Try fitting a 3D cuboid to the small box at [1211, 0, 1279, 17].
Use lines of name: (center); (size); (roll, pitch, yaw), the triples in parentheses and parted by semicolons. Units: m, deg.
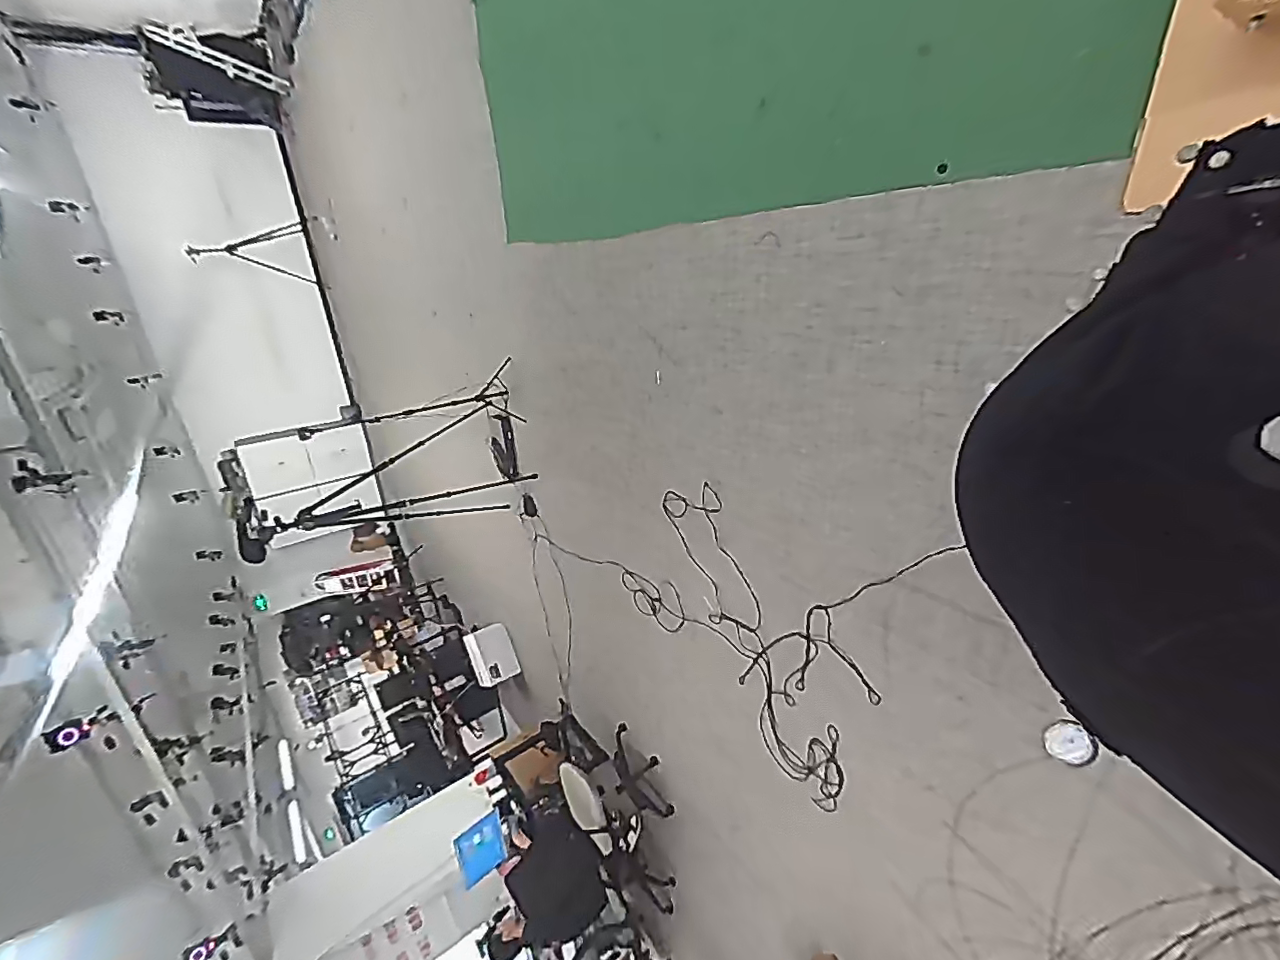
small box: (0.975, -0.794, 0.767); (0.168, 0.176, 0.179); (28, 127, 48)
